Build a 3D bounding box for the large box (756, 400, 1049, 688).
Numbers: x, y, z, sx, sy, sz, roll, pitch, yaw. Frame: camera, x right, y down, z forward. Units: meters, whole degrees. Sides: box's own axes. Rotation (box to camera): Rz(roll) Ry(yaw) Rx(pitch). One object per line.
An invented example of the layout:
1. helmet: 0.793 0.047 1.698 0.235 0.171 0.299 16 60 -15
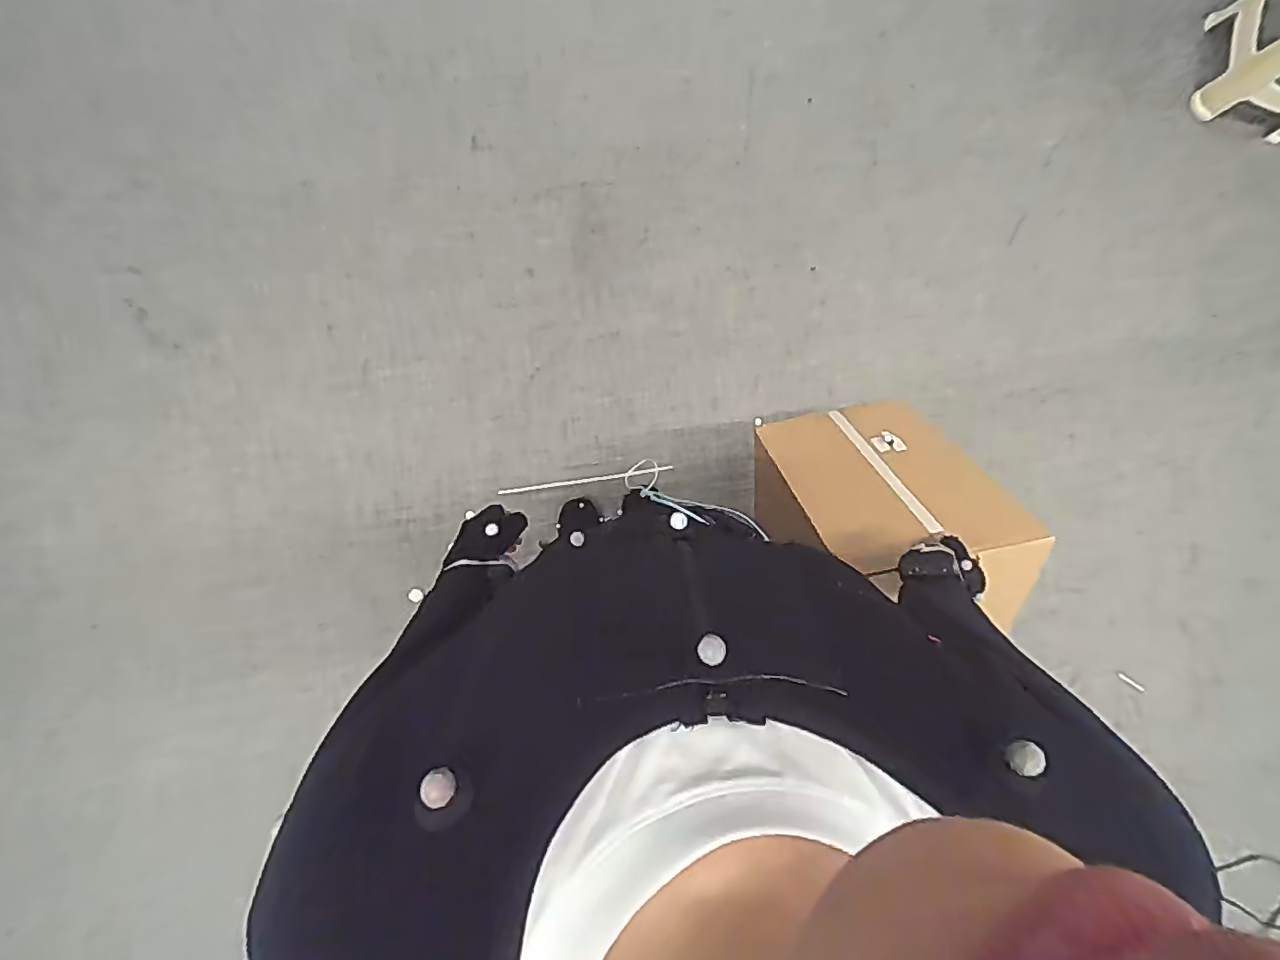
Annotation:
1. large box: 0.433 0.104 1.014 0.320 0.408 0.320 -11 128 -3
